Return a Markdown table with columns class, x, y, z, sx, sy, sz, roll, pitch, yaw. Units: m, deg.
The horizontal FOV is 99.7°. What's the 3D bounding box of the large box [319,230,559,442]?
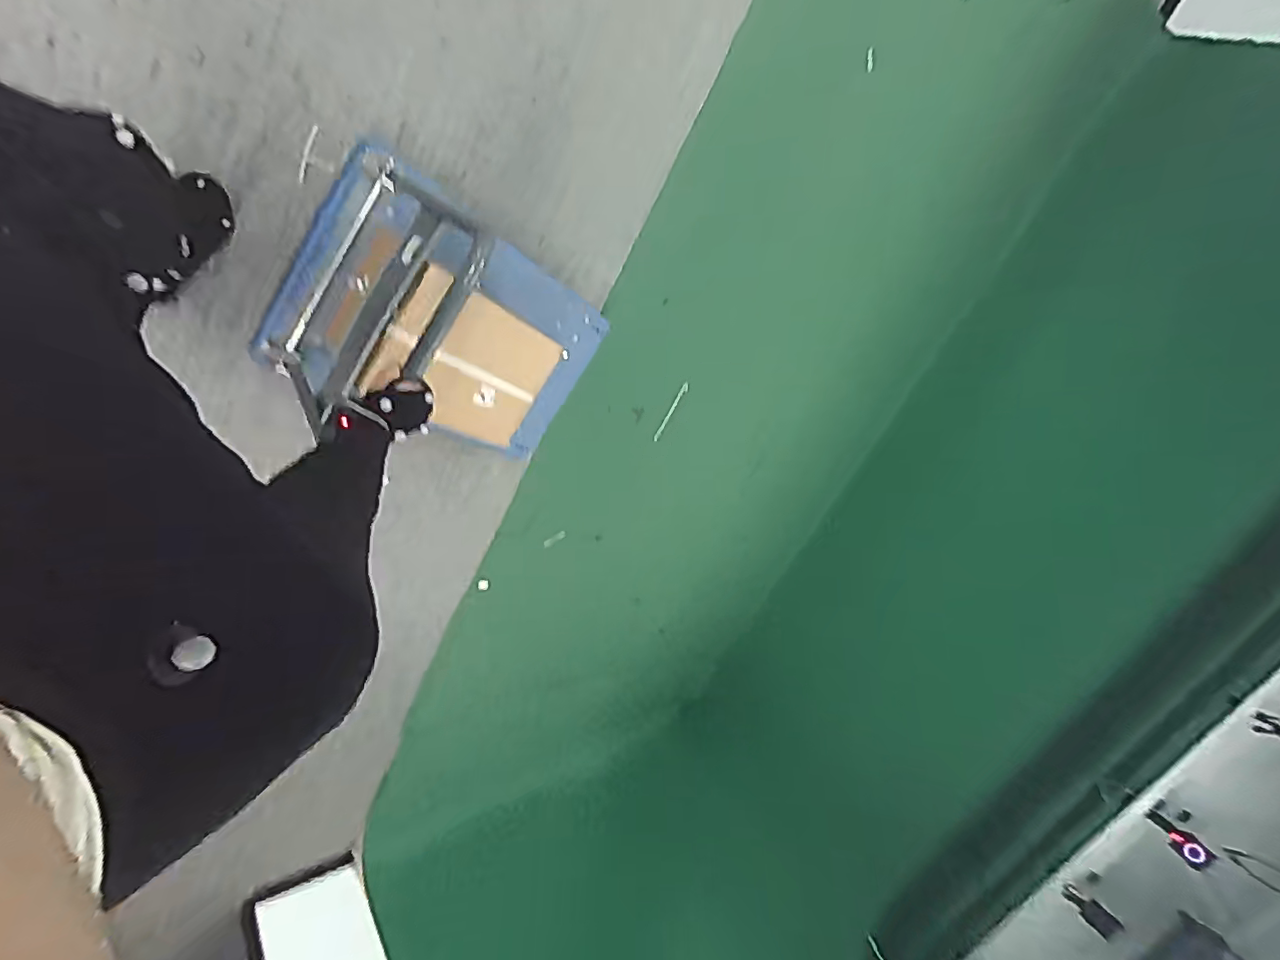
| class | x | y | z | sx | sy | sz | roll | pitch | yaw |
| --- | --- | --- | --- | --- | --- | --- | --- | --- | --- |
| large box | -0.494 | -0.344 | 1.344 | 0.320 | 0.320 | 0.408 | -55 | 144 | 9 |
